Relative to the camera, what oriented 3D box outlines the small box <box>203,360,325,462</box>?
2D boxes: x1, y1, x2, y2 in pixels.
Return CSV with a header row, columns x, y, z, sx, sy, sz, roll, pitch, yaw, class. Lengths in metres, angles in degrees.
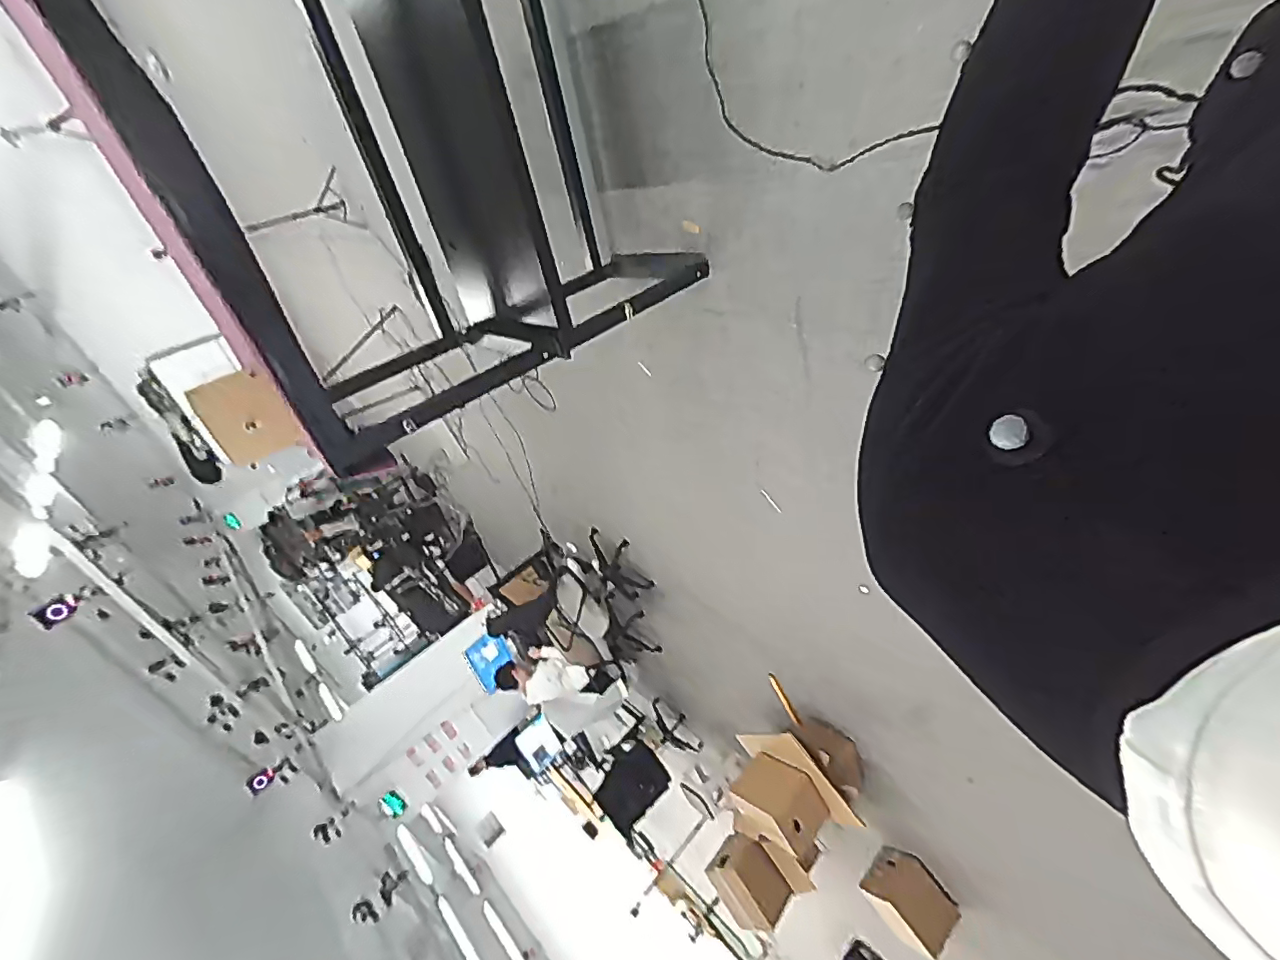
x,y,z,sx,sy,sz,roll,pitch,yaw,class
-0.911,-0.175,1.315,0.168,0.176,0.179,24,139,44,small box
